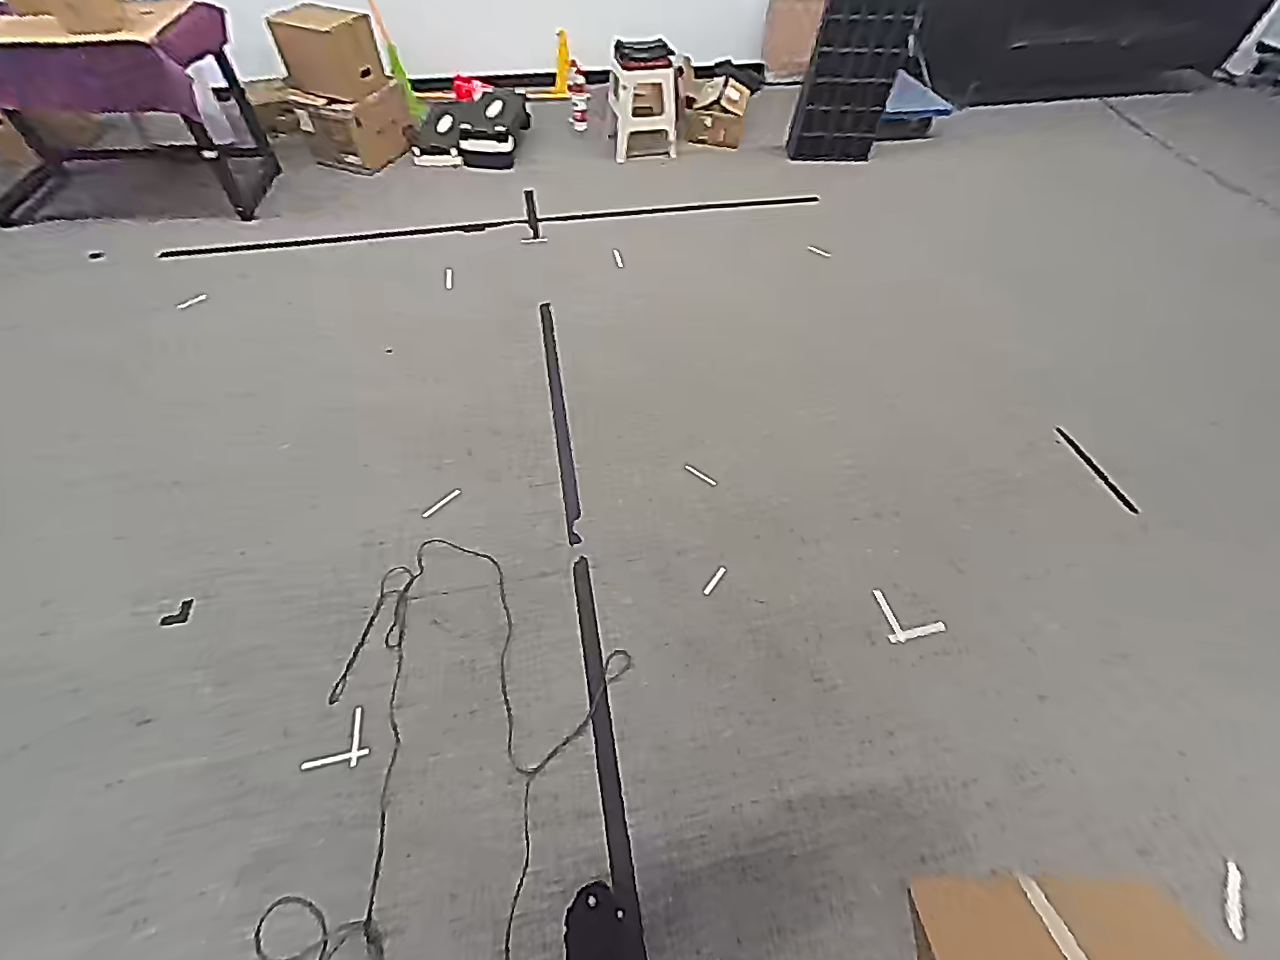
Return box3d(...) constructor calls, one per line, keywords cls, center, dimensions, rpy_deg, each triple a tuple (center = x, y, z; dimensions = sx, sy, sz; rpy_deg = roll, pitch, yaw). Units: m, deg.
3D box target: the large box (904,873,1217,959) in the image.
box3d(cls="large box", center=(0.518, 0.720, 0.576), dimensions=(0.320, 0.408, 0.320), rpy_deg=(-8, 91, 11))
